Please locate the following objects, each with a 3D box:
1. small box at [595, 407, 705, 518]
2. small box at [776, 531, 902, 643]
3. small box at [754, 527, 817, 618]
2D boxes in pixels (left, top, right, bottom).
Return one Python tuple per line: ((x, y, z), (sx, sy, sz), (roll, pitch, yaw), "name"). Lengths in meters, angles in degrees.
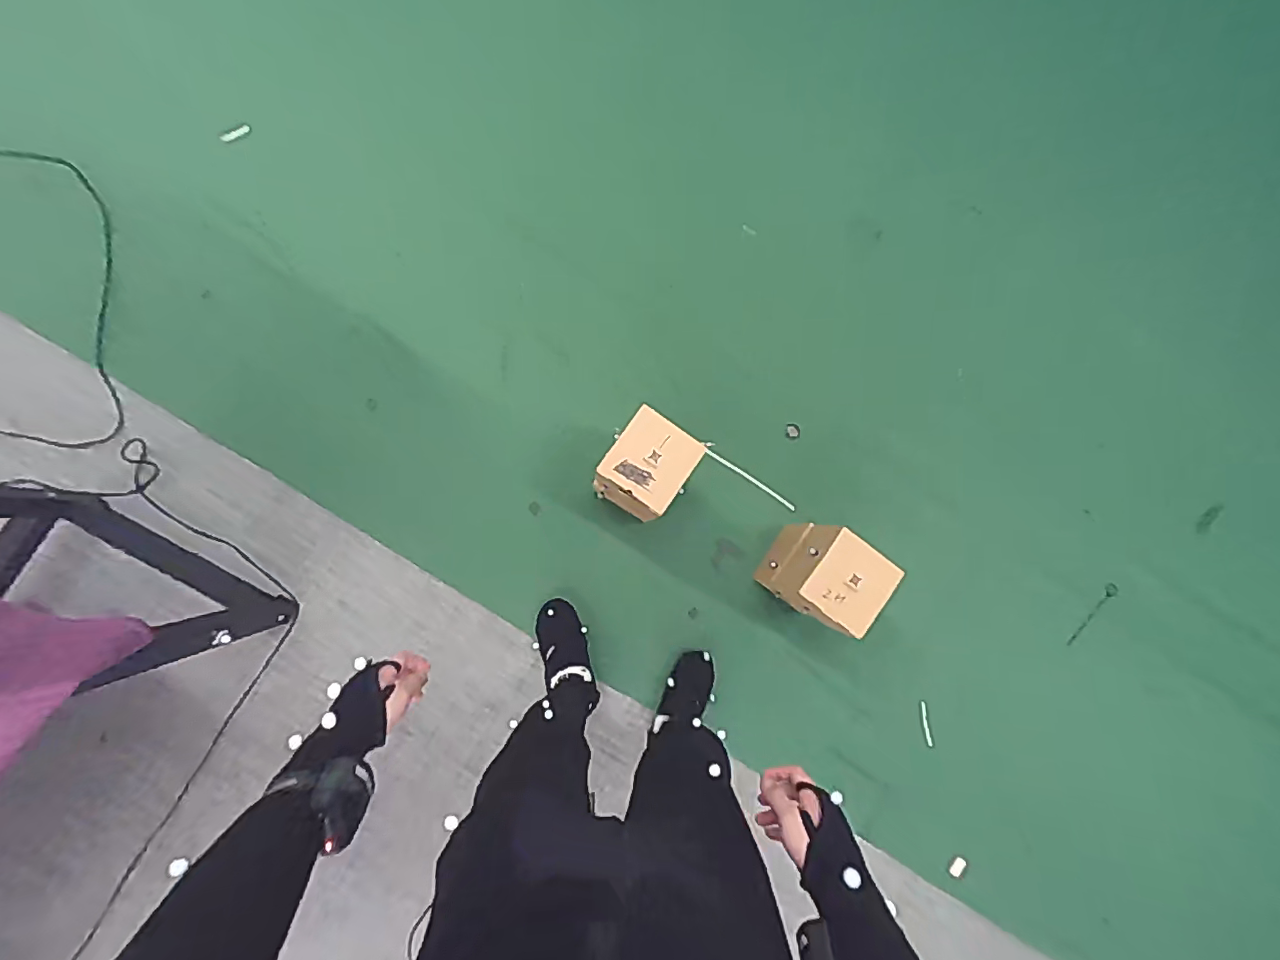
((0.016, -0.028, 1.183), (0.168, 0.176, 0.179), (36, 81, -1), "small box")
((0.430, 0.226, 1.201), (0.168, 0.176, 0.179), (38, 84, -2), "small box")
((0.414, 0.232, 1.365), (0.168, 0.176, 0.179), (36, 84, -2), "small box")
